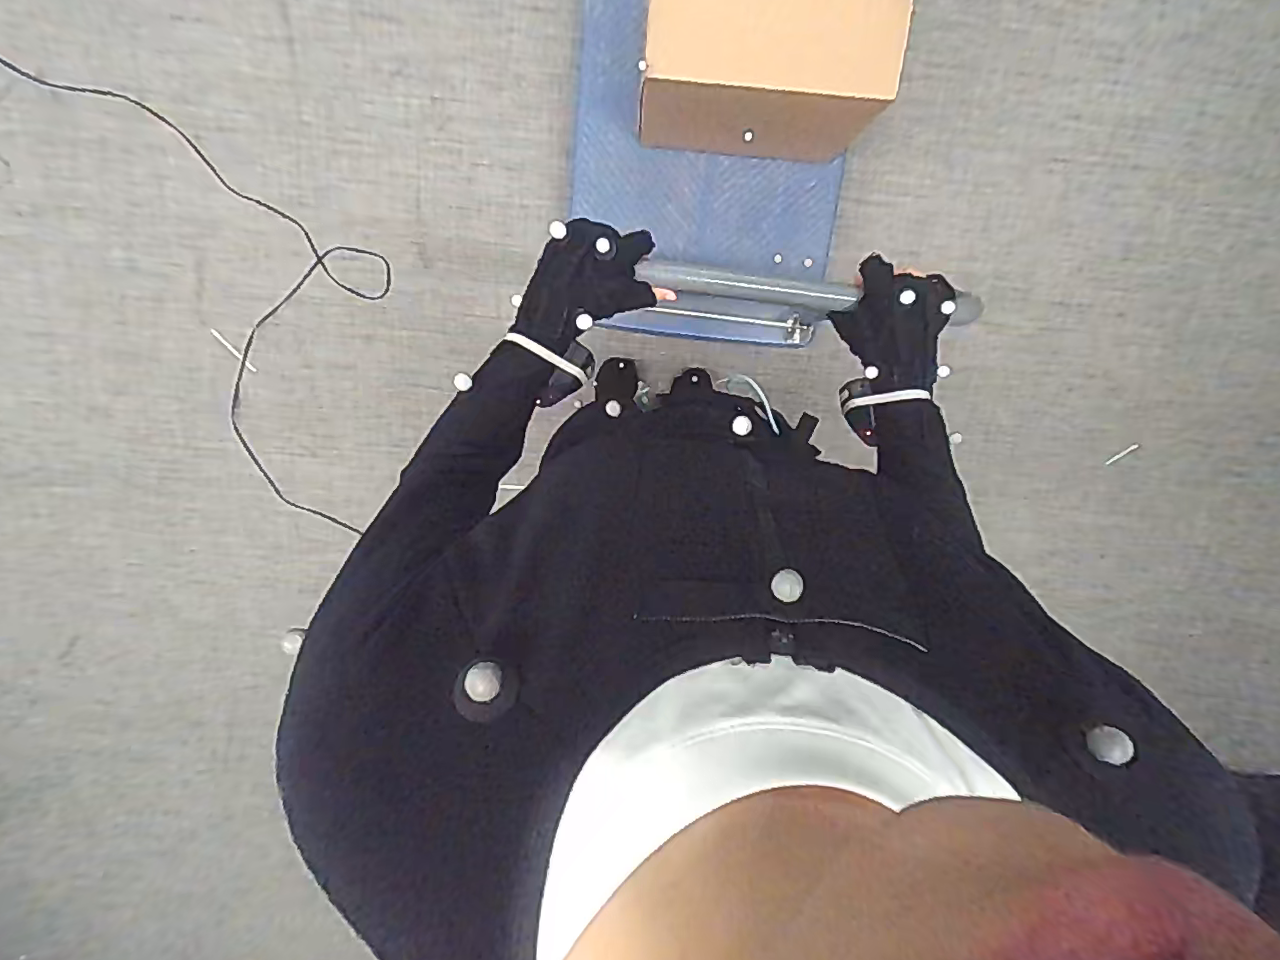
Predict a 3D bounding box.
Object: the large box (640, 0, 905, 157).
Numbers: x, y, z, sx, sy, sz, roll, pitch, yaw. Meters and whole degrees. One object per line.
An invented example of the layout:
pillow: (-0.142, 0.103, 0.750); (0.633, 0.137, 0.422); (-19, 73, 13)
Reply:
large box: (0.211, -0.801, 0.962); (0.408, 0.320, 0.320); (4, 103, -1)
